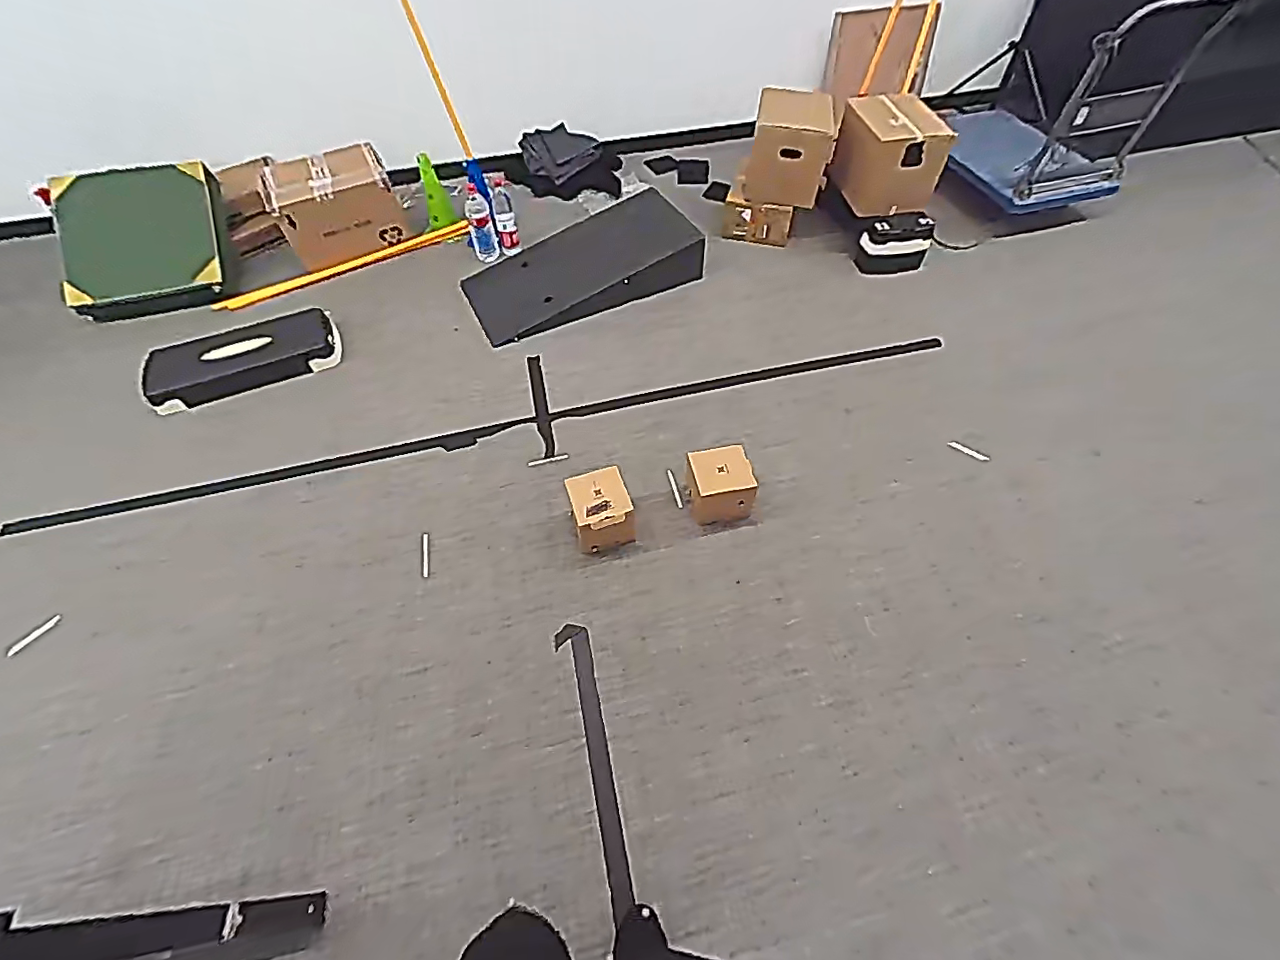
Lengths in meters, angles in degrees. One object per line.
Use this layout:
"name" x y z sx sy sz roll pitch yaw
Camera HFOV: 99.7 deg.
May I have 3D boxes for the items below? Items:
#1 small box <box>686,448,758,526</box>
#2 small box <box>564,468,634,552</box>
"small box" 0.246 0.025 1.672 0.179 0.176 0.168 -9 54 -5
"small box" -0.119 0.098 1.622 0.168 0.176 0.179 -15 55 -10
